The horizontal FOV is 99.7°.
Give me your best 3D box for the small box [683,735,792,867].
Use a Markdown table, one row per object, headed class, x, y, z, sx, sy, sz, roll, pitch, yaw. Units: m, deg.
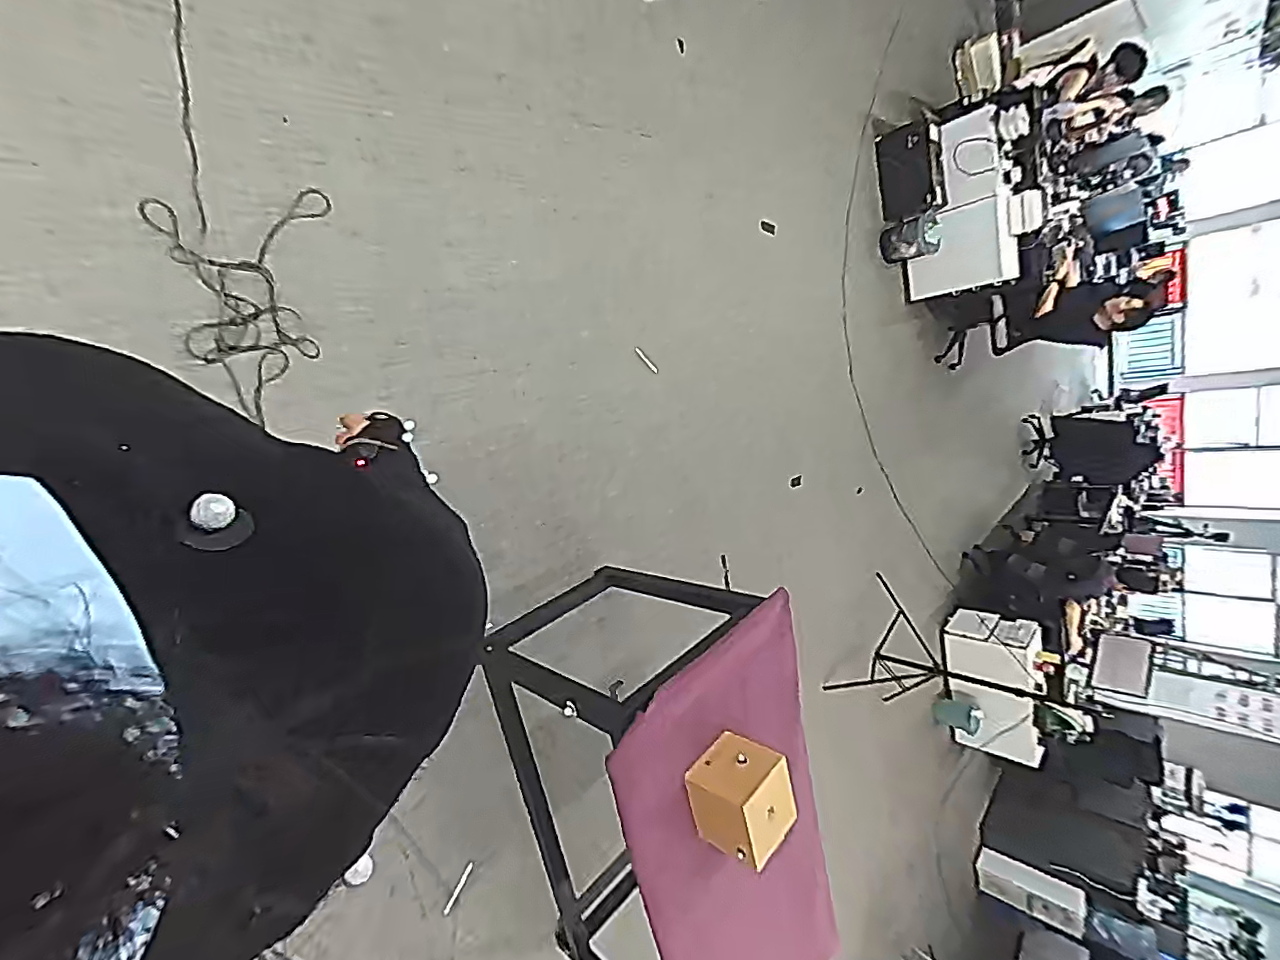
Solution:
| class | x | y | z | sx | sy | sz | roll | pitch | yaw |
| --- | --- | --- | --- | --- | --- | --- | --- | --- | --- |
| small box | 0.218 | 0.711 | 1.227 | 0.168 | 0.176 | 0.179 | -26 | 109 | -40 |
